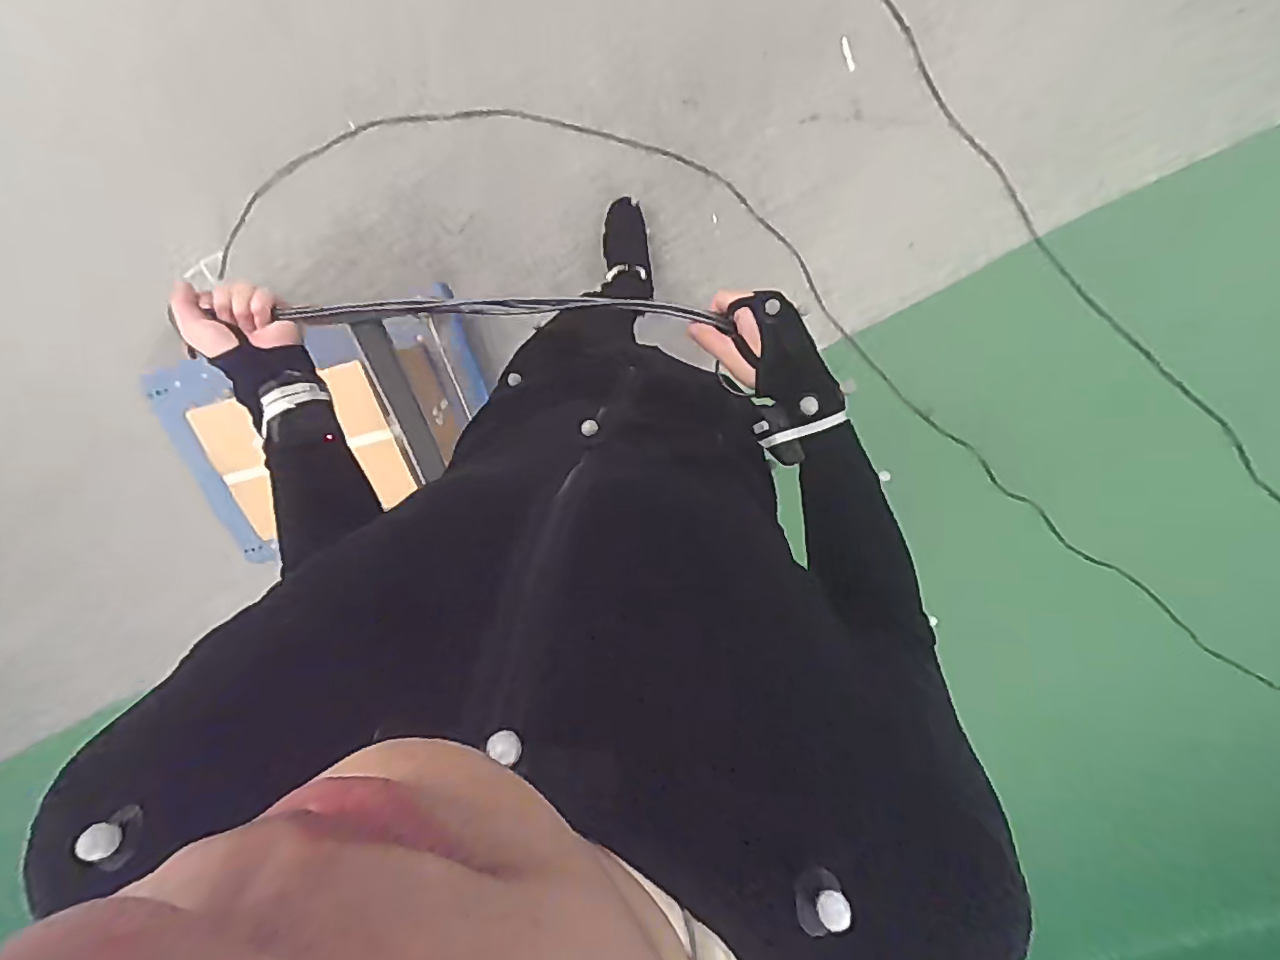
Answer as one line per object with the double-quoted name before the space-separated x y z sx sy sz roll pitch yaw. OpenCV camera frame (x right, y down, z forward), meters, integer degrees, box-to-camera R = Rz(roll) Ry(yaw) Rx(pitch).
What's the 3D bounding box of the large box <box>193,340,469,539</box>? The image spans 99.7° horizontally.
"large box" -0.688 -0.109 1.277 0.408 0.320 0.320 -14 109 8
